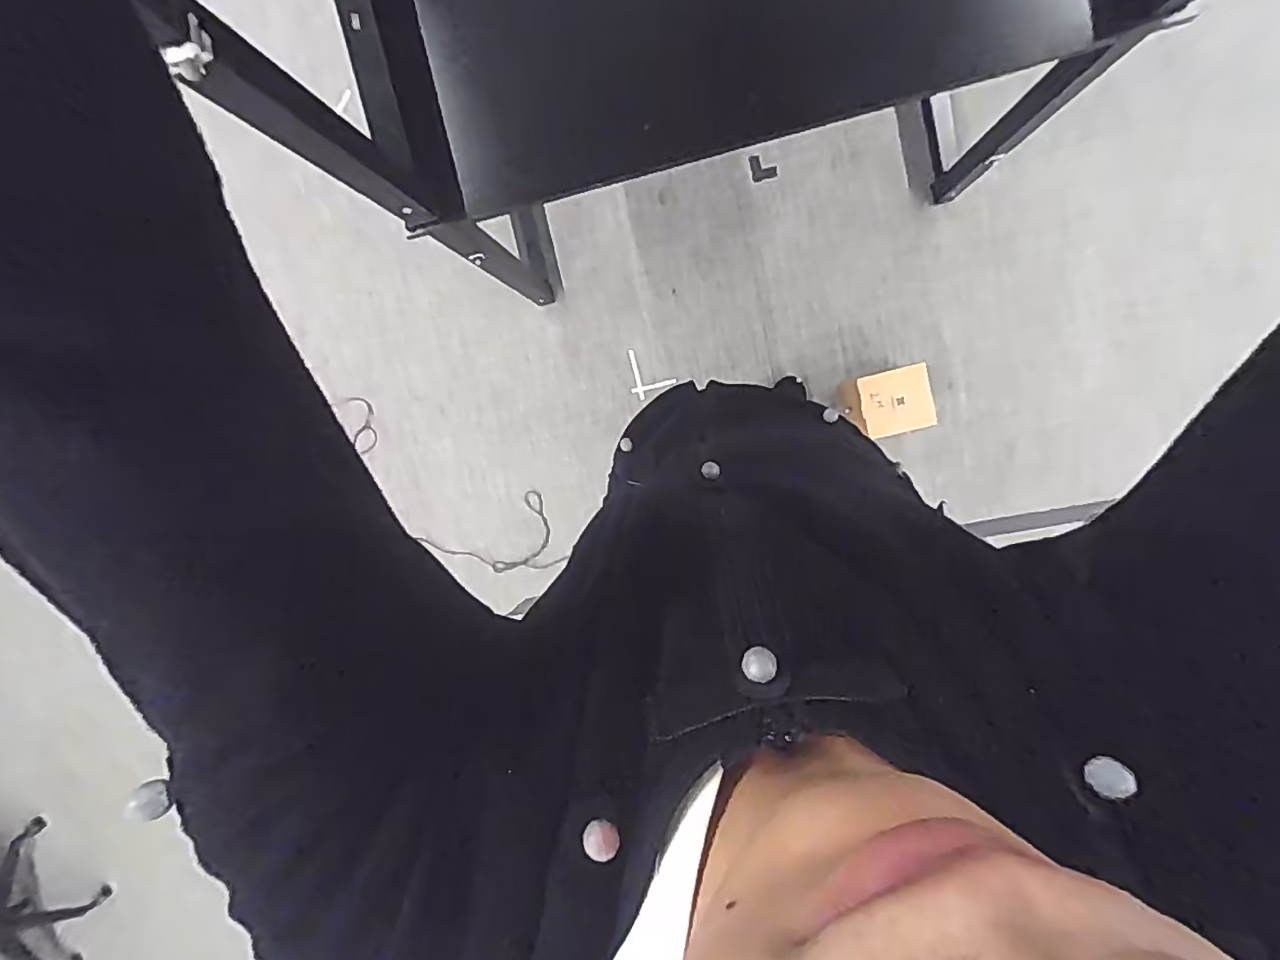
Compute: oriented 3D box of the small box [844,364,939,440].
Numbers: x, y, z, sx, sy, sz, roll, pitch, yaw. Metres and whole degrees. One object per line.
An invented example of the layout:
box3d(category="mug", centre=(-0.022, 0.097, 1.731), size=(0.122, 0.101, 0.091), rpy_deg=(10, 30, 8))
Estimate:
box3d(category="small box", centre=(0.675, -0.211, 1.467), size=(0.179, 0.176, 0.168), rpy_deg=(-14, 95, 9))
